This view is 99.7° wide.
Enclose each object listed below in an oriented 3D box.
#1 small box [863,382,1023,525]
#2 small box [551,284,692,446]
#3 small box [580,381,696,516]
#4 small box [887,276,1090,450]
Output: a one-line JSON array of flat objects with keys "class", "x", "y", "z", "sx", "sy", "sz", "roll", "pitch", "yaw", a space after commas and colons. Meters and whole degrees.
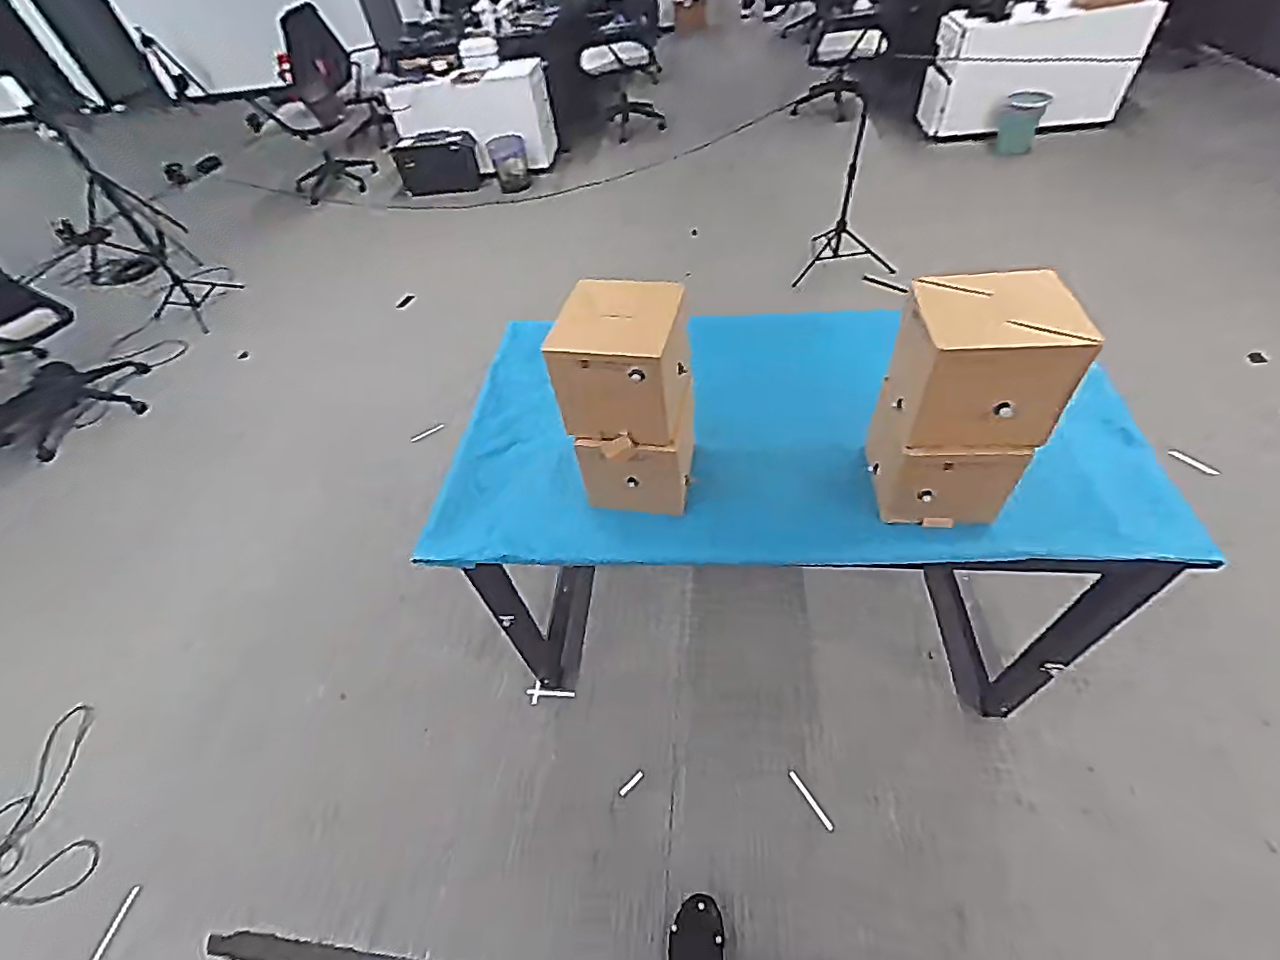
[{"class": "small box", "x": 0.468, "y": -0.047, "z": 0.856, "sx": 0.168, "sy": 0.176, "sz": 0.179, "roll": 0, "pitch": 49, "yaw": 8}, {"class": "small box", "x": -0.020, "y": -0.176, "z": 0.817, "sx": 0.168, "sy": 0.176, "sz": 0.179, "roll": 7, "pitch": 53, "yaw": 14}, {"class": "small box", "x": 0.004, "y": -0.061, "z": 0.933, "sx": 0.168, "sy": 0.176, "sz": 0.179, "roll": 4, "pitch": 51, "yaw": 11}, {"class": "small box", "x": 0.456, "y": -0.159, "z": 0.736, "sx": 0.179, "sy": 0.176, "sz": 0.168, "roll": -1, "pitch": 48, "yaw": 11}]
